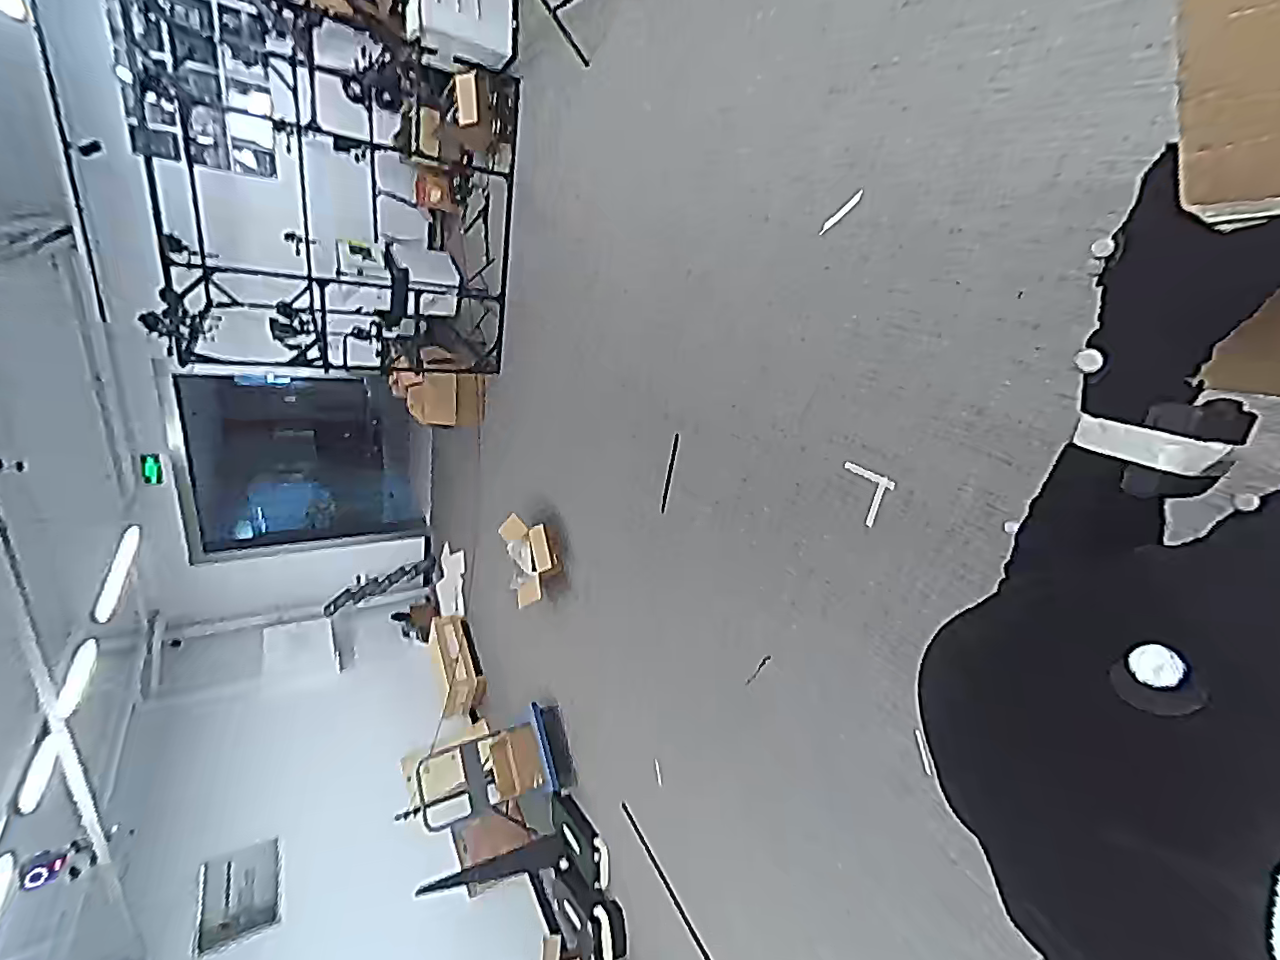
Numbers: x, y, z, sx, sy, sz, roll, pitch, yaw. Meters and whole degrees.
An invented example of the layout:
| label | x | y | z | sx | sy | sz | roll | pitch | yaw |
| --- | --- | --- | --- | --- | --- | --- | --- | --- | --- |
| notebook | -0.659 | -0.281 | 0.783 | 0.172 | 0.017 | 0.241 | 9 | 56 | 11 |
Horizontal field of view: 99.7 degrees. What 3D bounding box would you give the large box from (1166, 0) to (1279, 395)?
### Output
| label | x | y | z | sx | sy | sz | roll | pitch | yaw |
| --- | --- | --- | --- | --- | --- | --- | --- | --- | --- |
| large box | 0.507 | -0.223 | 0.180 | 0.320 | 0.320 | 0.408 | -55 | 36 | -7 |
